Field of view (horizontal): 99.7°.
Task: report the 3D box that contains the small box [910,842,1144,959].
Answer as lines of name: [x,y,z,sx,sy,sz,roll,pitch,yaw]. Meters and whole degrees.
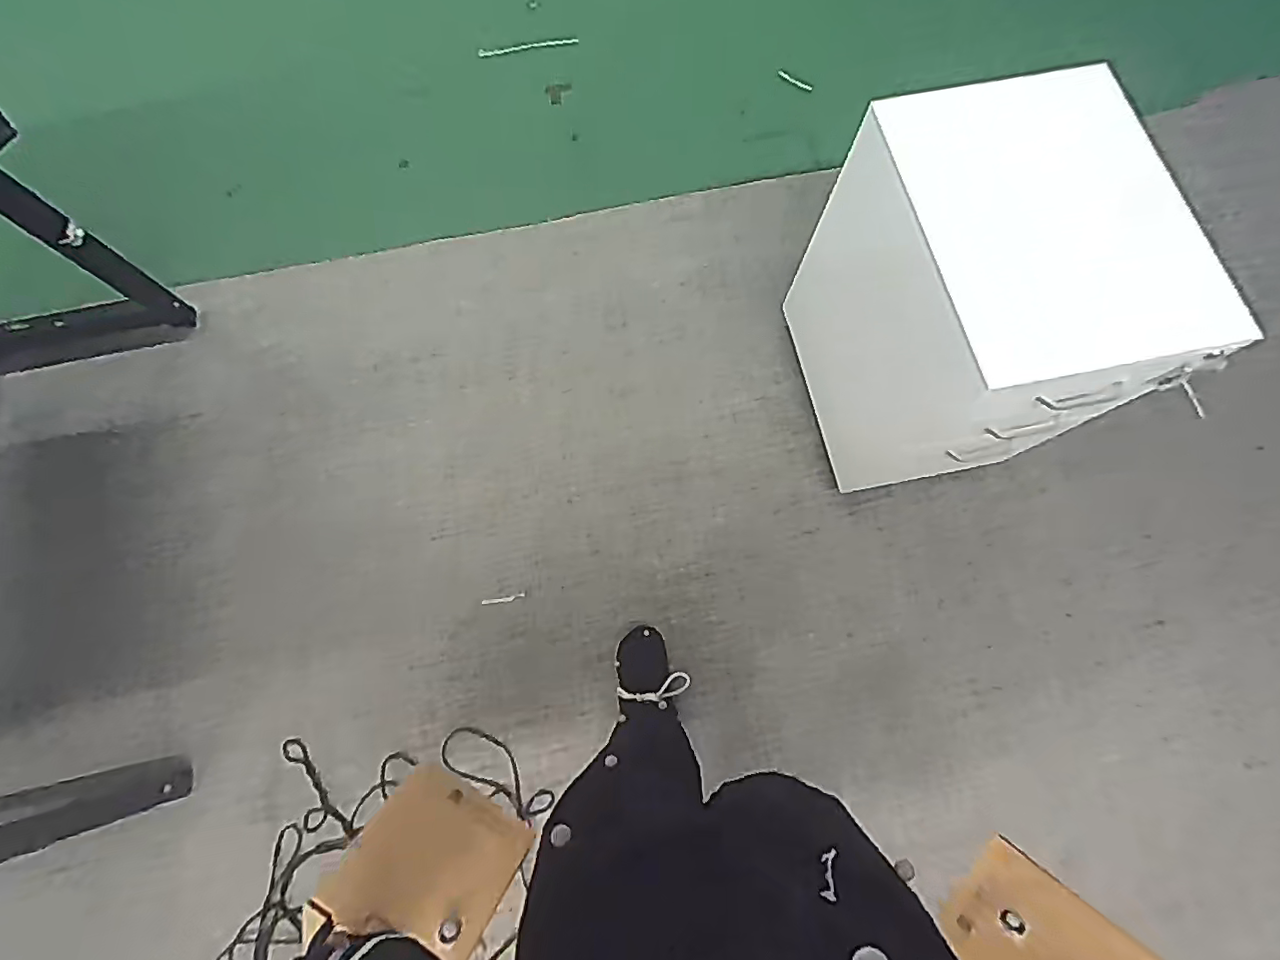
small box: [0.414,0.542,0.584,0.168,0.179,0.176,-35,37,-19]
